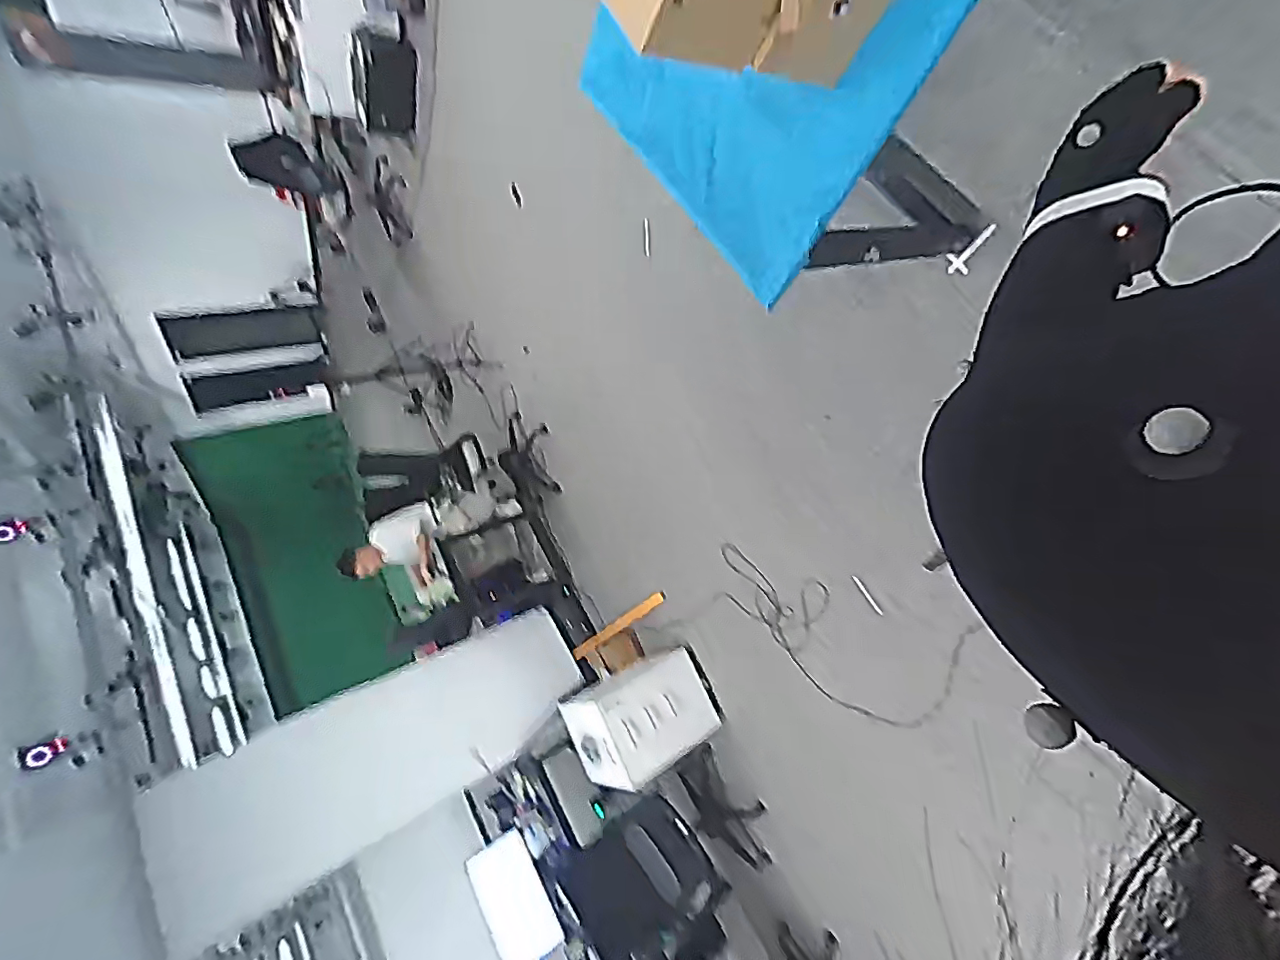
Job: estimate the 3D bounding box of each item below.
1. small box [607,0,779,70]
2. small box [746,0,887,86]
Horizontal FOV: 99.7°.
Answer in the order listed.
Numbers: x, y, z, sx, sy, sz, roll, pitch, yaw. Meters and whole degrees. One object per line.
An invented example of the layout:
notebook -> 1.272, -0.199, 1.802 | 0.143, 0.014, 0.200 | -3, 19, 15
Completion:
small box -> 0.055, -0.595, 0.586 | 0.179, 0.176, 0.168 | 61, 145, 10
small box -> 0.192, -0.636, 0.669 | 0.179, 0.176, 0.168 | 60, 144, 14
